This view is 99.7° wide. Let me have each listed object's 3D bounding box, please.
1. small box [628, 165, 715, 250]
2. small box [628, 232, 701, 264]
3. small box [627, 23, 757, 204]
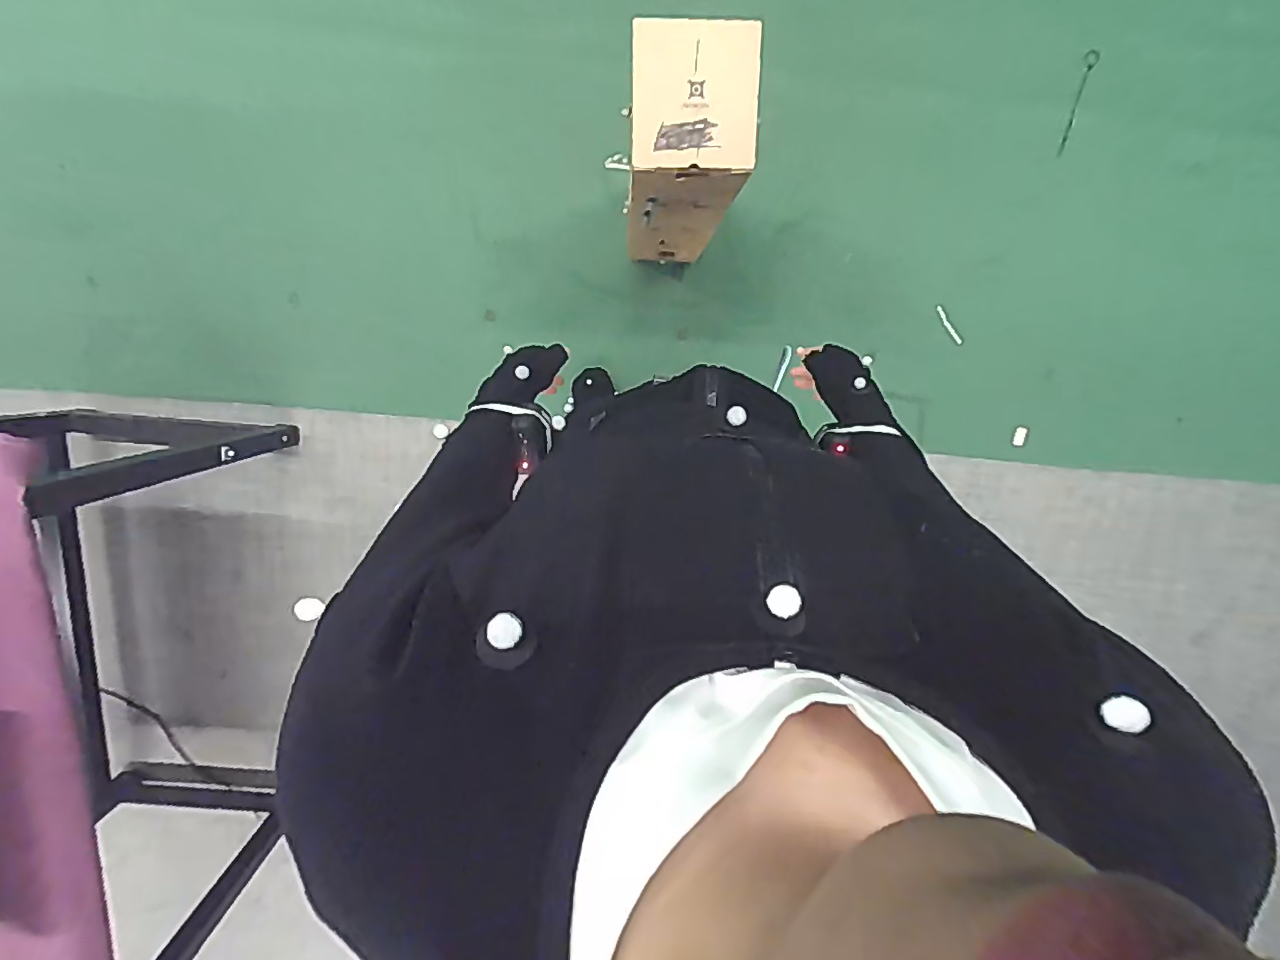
[{"bbox_3d":[0.060,-0.580,1.100,0.168,0.176,0.179,1,104,-2],"label":"small box"},{"bbox_3d":[0.058,-0.615,1.259,0.168,0.176,0.179,3,103,-2],"label":"small box"},{"bbox_3d":[0.068,-0.509,0.779,0.168,0.176,0.179,-3,104,-1],"label":"small box"}]
